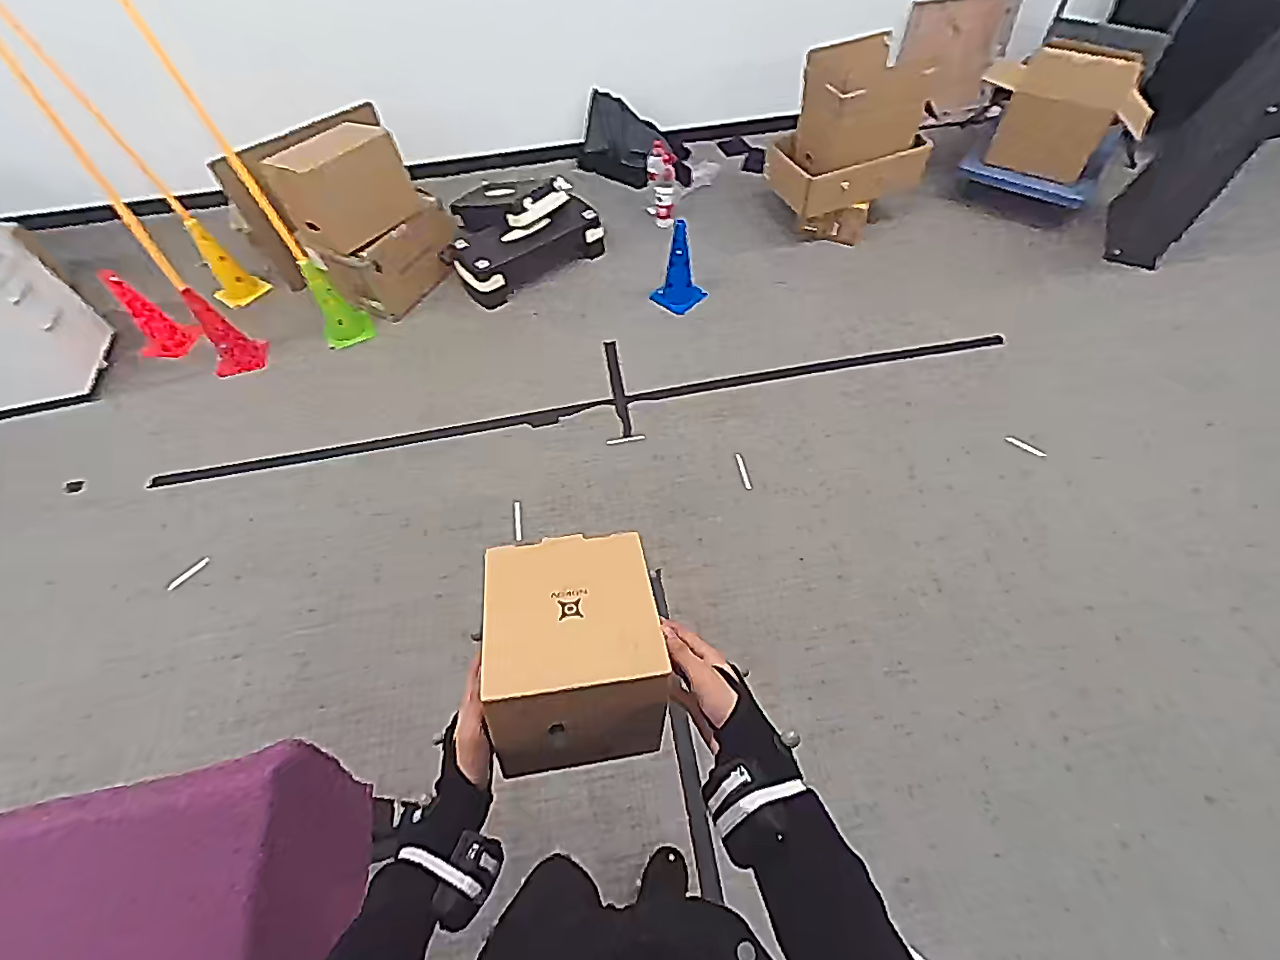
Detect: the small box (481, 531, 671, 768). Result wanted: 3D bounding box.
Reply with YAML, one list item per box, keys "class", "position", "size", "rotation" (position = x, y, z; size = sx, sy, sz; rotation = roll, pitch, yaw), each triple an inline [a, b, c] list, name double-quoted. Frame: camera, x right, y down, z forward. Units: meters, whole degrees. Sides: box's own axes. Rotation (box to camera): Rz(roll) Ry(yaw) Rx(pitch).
- class: "small box"
  position: [-0.067, 0.180, 0.570]
  size: [0.168, 0.176, 0.179]
  rotation: [-5, 41, -9]
